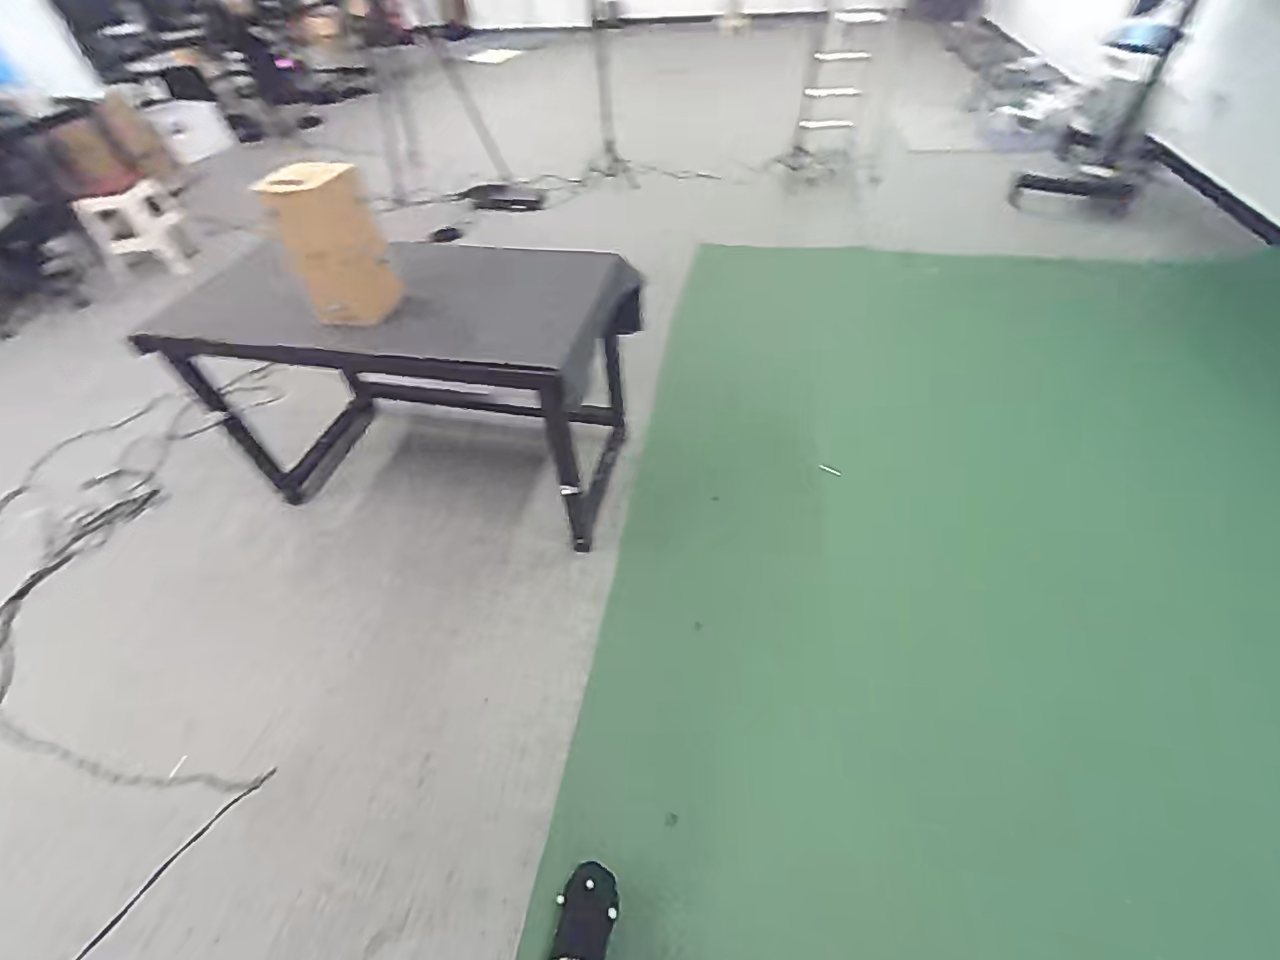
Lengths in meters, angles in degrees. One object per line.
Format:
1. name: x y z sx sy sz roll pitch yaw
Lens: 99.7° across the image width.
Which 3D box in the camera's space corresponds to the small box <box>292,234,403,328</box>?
1. small box: -0.748 -0.522 1.413 0.168 0.176 0.179 6 48 10
